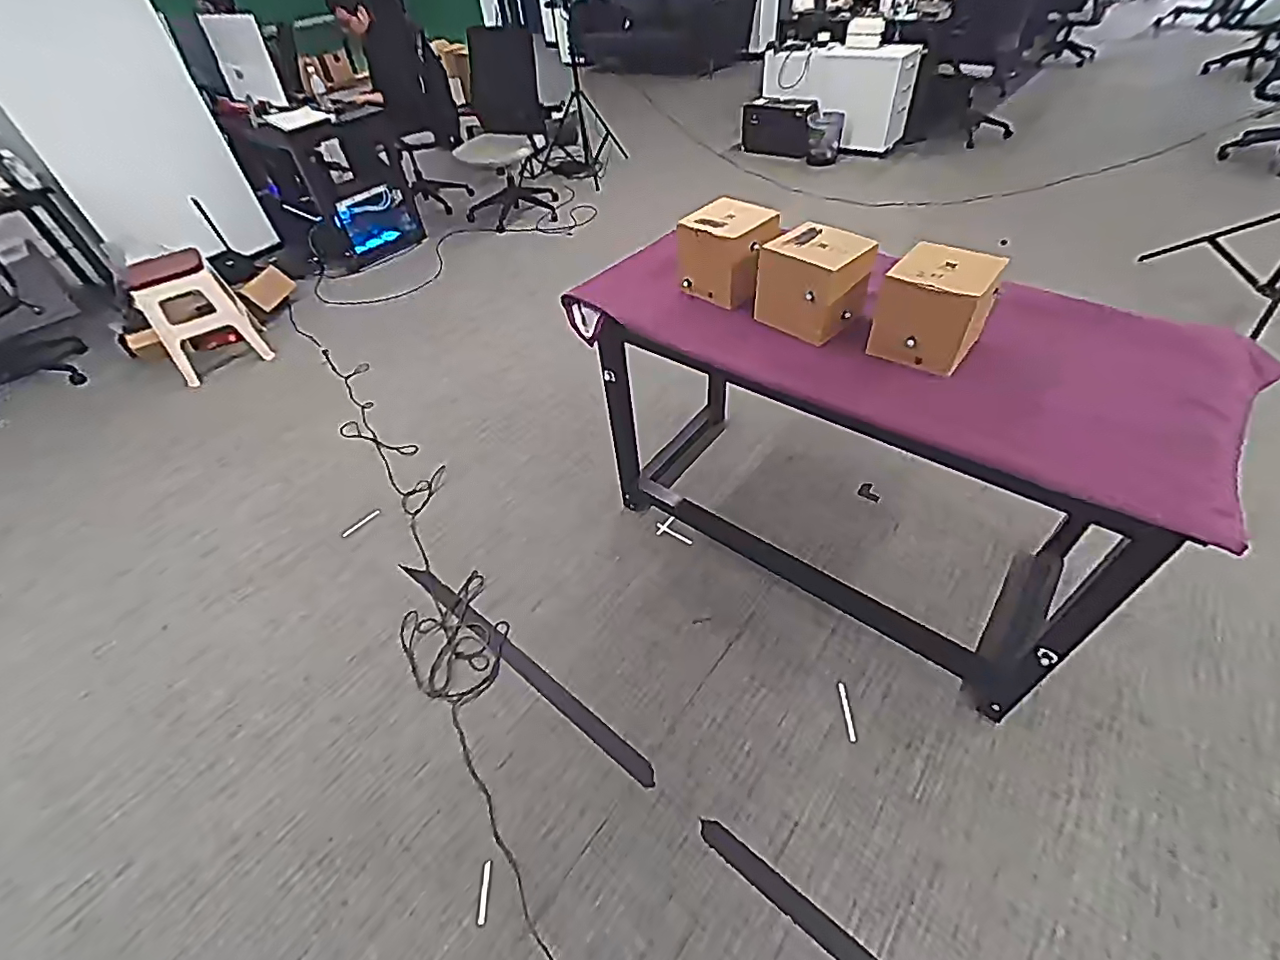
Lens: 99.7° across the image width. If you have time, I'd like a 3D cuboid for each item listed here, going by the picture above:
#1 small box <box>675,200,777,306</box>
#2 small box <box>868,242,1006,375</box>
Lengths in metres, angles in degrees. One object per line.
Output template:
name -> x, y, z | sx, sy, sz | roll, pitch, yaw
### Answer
small box -> 0.204, -0.539, 1.288 | 0.168, 0.176, 0.179 | 34, 58, 31
small box -> 0.568, -0.335, 1.055 | 0.168, 0.176, 0.179 | 29, 55, 30
